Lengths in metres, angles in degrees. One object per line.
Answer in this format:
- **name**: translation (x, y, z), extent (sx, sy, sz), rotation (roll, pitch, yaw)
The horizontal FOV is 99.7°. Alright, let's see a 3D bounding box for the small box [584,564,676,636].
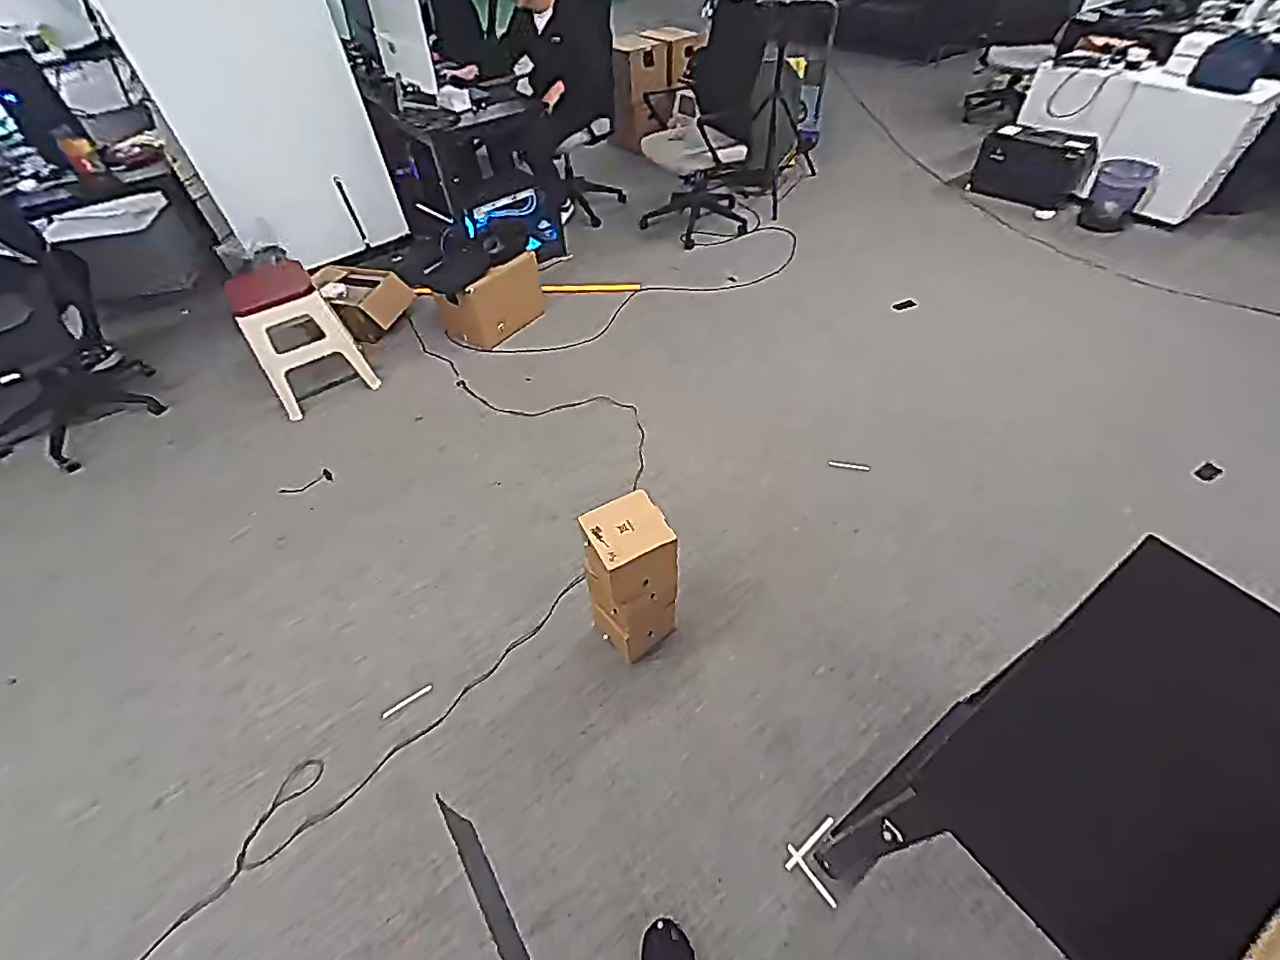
- **small box**: translation (-0.021, 0.270, 1.407), extent (0.179, 0.176, 0.168), rotation (-35, 57, -26)

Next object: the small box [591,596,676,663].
- **small box**: translation (-0.017, 0.380, 1.526), extent (0.179, 0.176, 0.168), rotation (-34, 55, -22)

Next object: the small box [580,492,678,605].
- **small box**: translation (-0.027, 0.164, 1.281), extent (0.179, 0.176, 0.168), rotation (-23, 52, -17)
